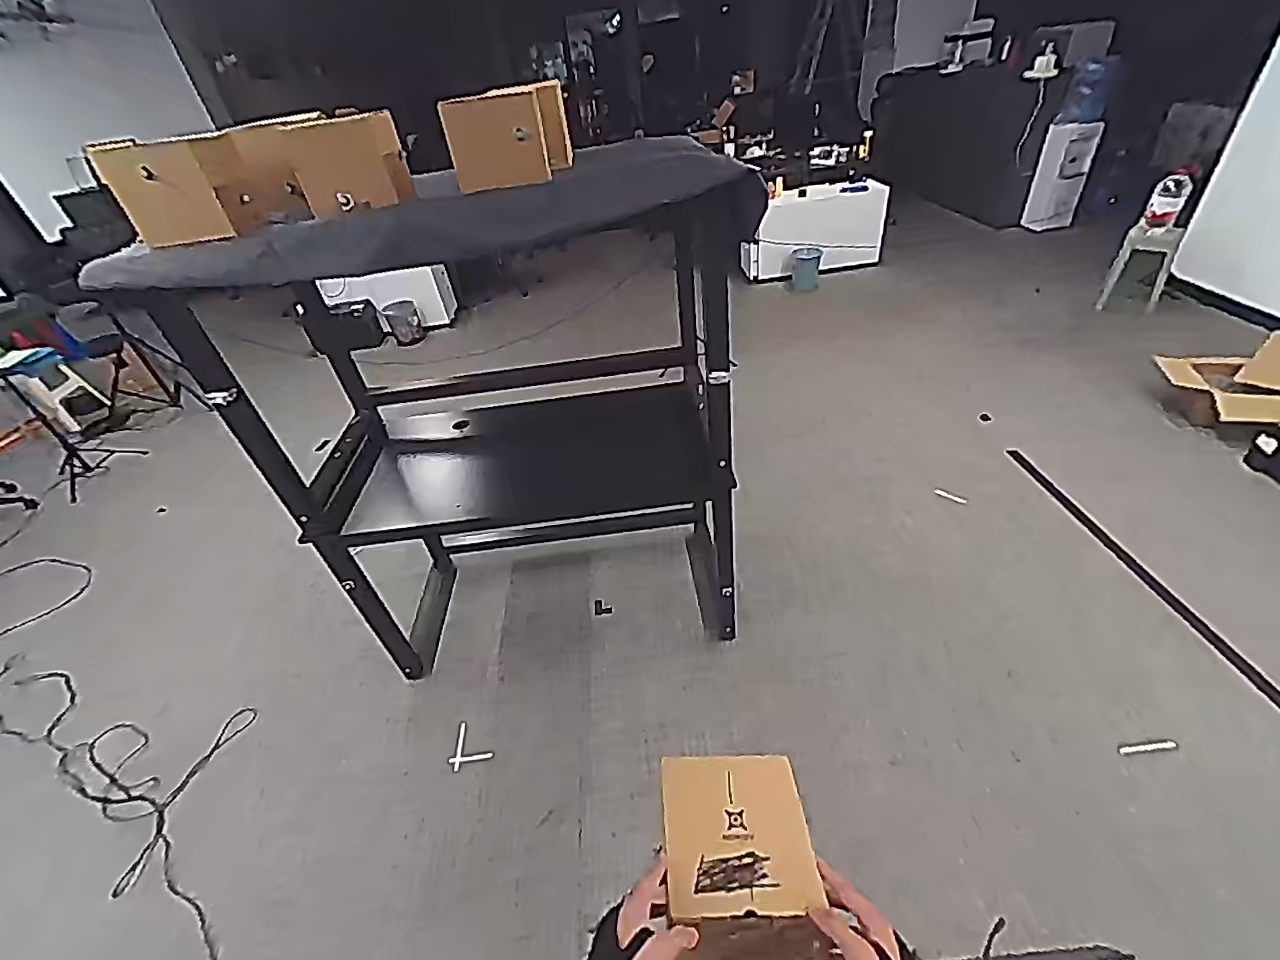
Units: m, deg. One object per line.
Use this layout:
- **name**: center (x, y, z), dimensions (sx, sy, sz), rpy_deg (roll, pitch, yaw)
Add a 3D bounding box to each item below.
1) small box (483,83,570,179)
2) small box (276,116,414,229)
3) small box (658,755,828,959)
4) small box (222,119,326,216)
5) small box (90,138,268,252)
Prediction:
- **small box**: center (-0.266, -0.840, 1.307), dimensions (0.168, 0.176, 0.179), rpy_deg (-9, 38, 0)
- **small box**: center (-0.570, -0.612, 1.077), dimensions (0.168, 0.176, 0.179), rpy_deg (-11, 37, -2)
- **small box**: center (0.108, 0.464, 0.653), dimensions (0.168, 0.176, 0.179), rpy_deg (0, 30, -2)
- **small box**: center (-0.837, -0.754, 1.304), dimensions (0.179, 0.176, 0.168), rpy_deg (-8, 38, -2)
- **small box**: center (-0.899, -0.567, 1.077), dimensions (0.179, 0.176, 0.168), rpy_deg (-10, 37, -3)
